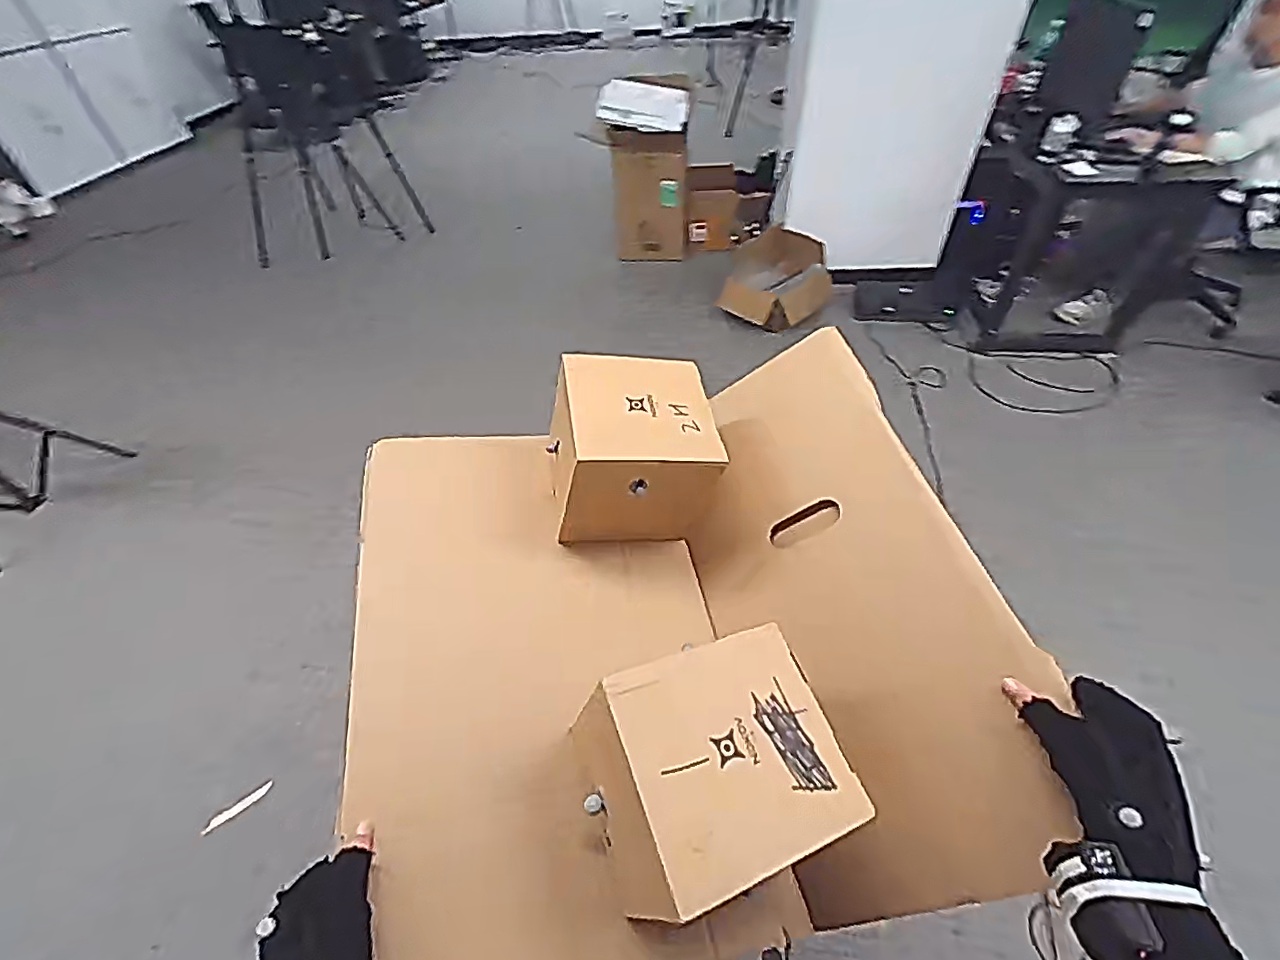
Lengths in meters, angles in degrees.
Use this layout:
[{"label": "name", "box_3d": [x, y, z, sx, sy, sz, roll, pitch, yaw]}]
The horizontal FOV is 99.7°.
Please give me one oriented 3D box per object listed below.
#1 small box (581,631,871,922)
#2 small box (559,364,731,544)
[{"label": "small box", "box_3d": [0.059, 0.263, 0.493, 0.179, 0.176, 0.168, -10, 57, -23]}, {"label": "small box", "box_3d": [-0.009, -0.027, 0.696, 0.179, 0.176, 0.168, 2, 53, -16]}]
